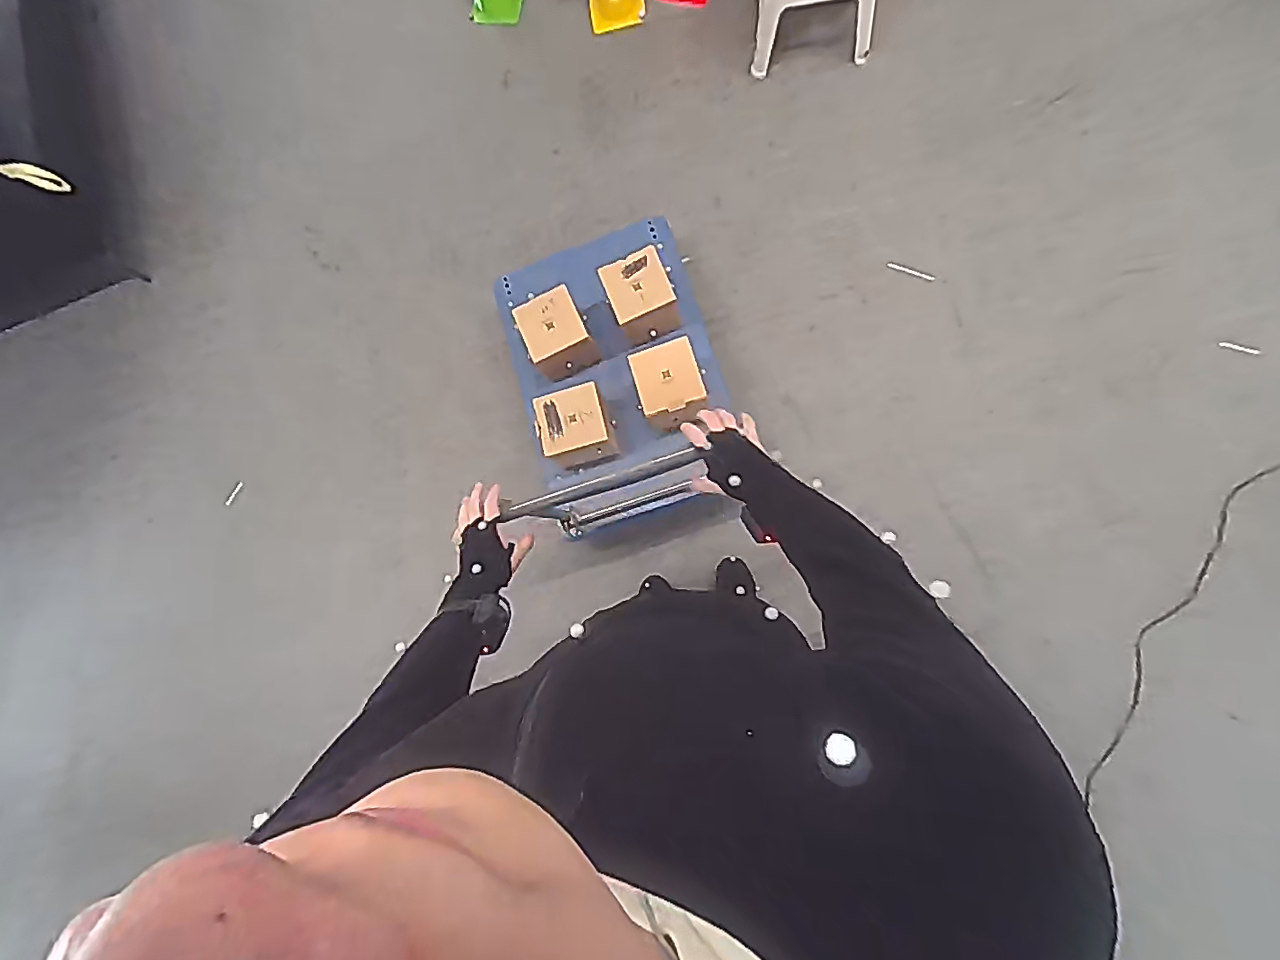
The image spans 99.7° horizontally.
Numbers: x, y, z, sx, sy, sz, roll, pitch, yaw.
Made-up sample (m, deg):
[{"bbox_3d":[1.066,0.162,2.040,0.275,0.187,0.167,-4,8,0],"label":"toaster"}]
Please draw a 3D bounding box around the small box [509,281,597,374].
[{"bbox_3d":[-0.239,-0.417,1.527,0.168,0.176,0.179,-25,79,4],"label":"small box"}]

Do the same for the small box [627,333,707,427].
[{"bbox_3d":[0.076,-0.262,1.456,0.168,0.176,0.179,-18,80,6],"label":"small box"}]

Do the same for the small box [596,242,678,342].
[{"bbox_3d":[-0.003,-0.514,1.504,0.168,0.176,0.179,-23,80,6],"label":"small box"}]
